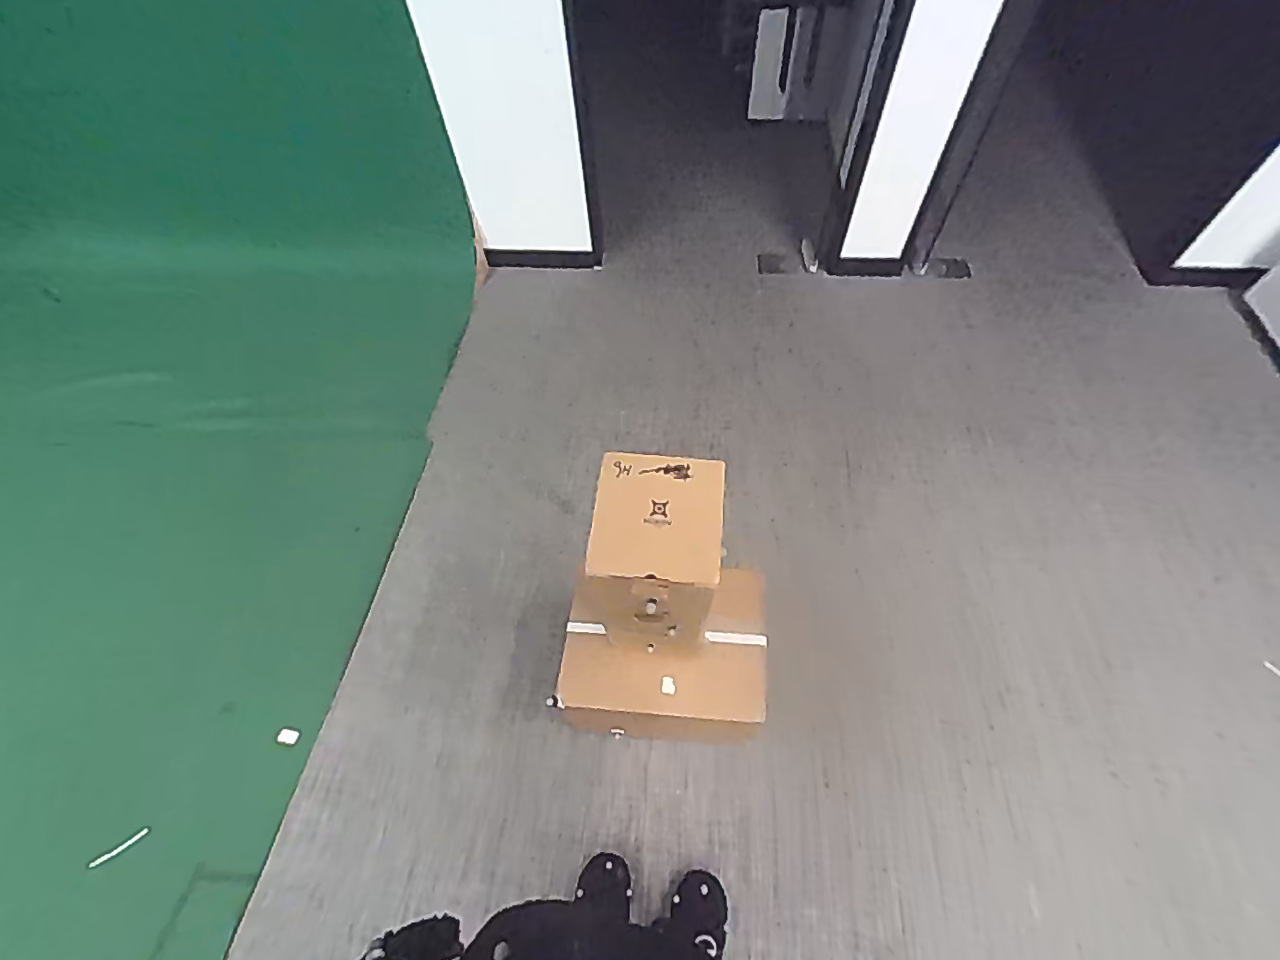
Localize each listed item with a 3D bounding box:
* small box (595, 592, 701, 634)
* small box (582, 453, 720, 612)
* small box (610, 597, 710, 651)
[{"bbox_3d":[0.026,0.152,0.913,0.168,0.176,0.179,5,62,5],"label":"small box"},{"bbox_3d":[0.023,0.081,0.766,0.168,0.176,0.179,4,64,5],"label":"small box"},{"bbox_3d":[0.043,0.233,1.053,0.179,0.176,0.168,2,64,4],"label":"small box"}]
